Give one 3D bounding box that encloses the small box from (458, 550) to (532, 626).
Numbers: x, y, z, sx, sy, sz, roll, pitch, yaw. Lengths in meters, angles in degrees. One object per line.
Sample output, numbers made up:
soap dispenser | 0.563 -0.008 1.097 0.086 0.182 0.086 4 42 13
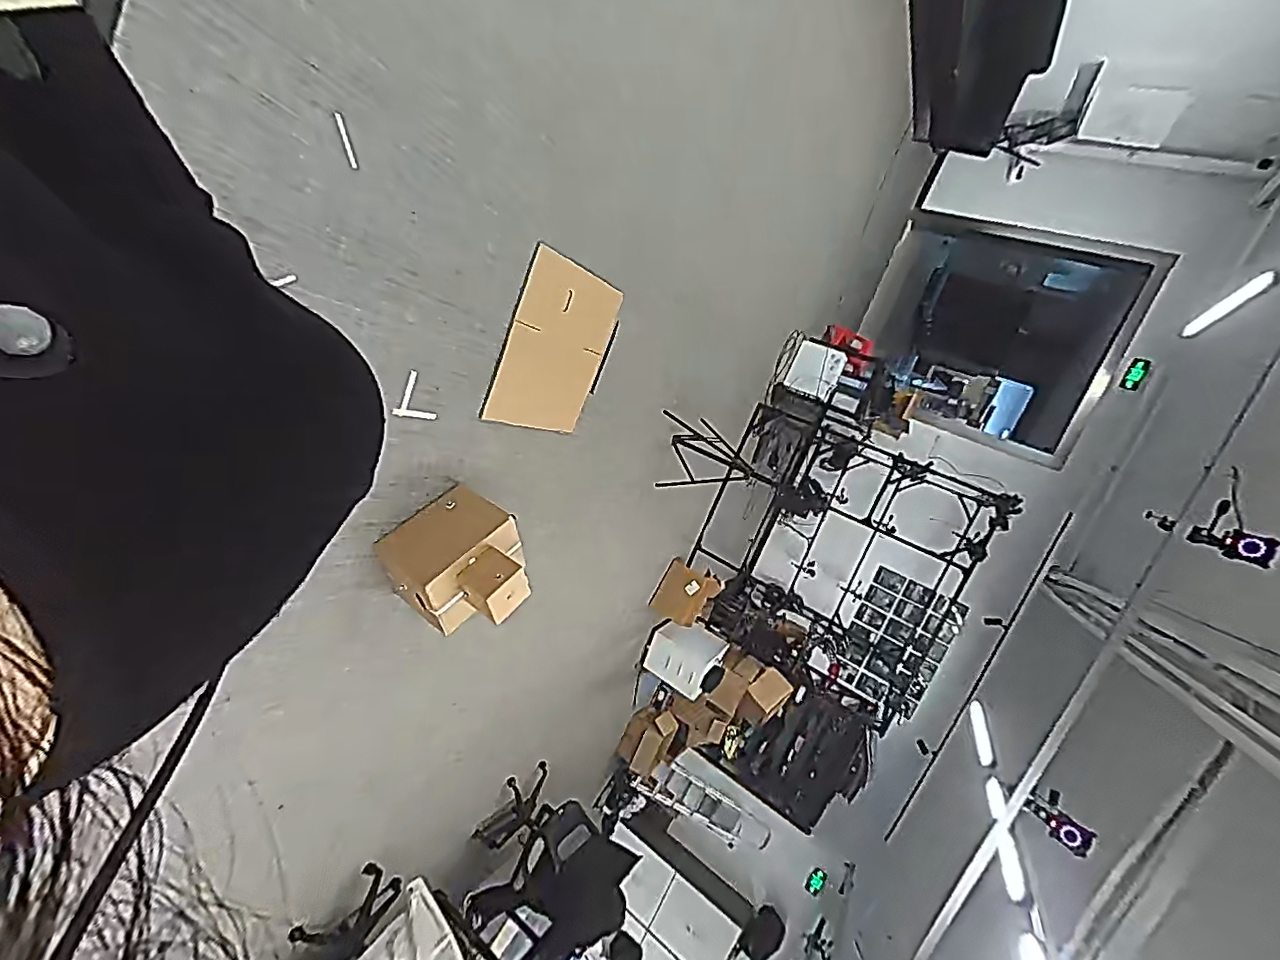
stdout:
small box | -0.523 0.384 1.957 0.179 0.176 0.168 -43 146 -33
